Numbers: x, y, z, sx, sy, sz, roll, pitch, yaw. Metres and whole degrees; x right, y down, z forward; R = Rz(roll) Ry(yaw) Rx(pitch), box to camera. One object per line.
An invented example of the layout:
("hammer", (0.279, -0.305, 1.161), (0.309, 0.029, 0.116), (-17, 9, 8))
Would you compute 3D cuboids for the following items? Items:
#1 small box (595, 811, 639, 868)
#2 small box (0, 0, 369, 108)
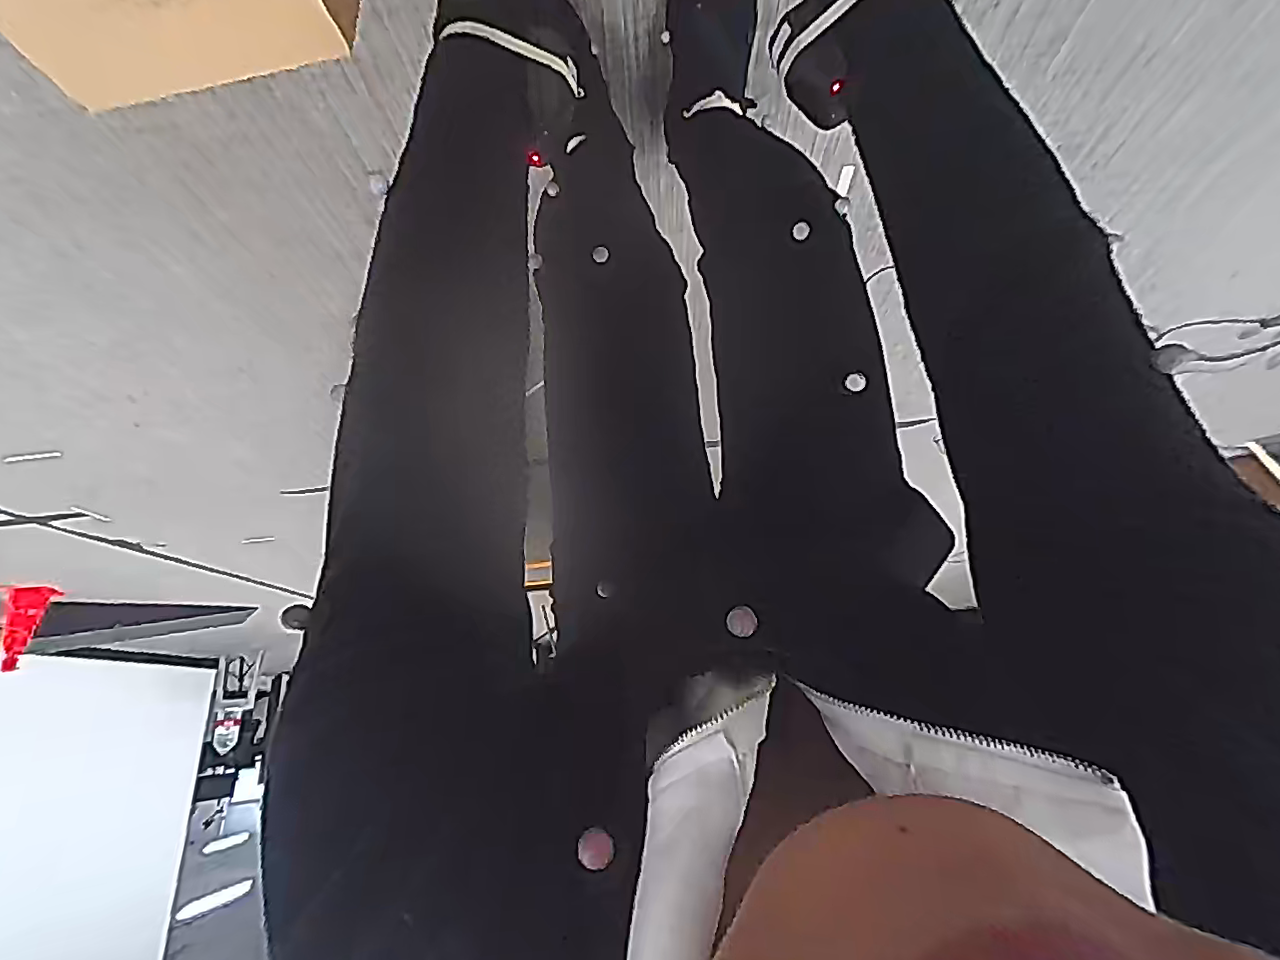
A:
("small box", (-0.096, 1.549, 2.339), (0.168, 0.176, 0.179), (-7, 160, 4))
("small box", (-0.254, -0.334, 0.260), (0.168, 0.176, 0.179), (-9, 158, 5))
